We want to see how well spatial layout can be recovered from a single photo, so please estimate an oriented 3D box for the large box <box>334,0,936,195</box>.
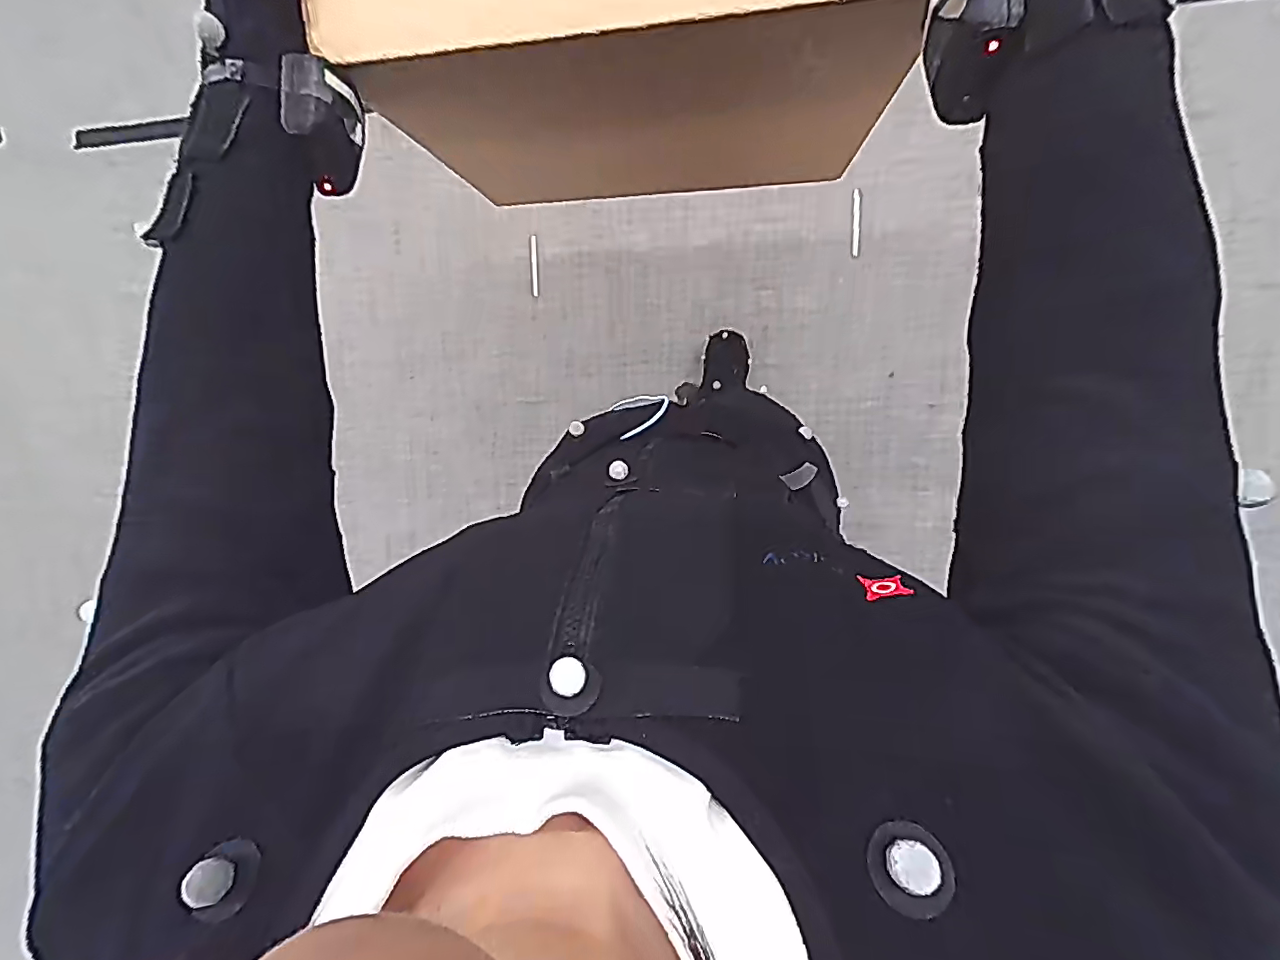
[{"bbox_3d":[0.003,-0.470,0.456,0.408,0.320,0.320,-1,102,7],"label":"large box"}]
